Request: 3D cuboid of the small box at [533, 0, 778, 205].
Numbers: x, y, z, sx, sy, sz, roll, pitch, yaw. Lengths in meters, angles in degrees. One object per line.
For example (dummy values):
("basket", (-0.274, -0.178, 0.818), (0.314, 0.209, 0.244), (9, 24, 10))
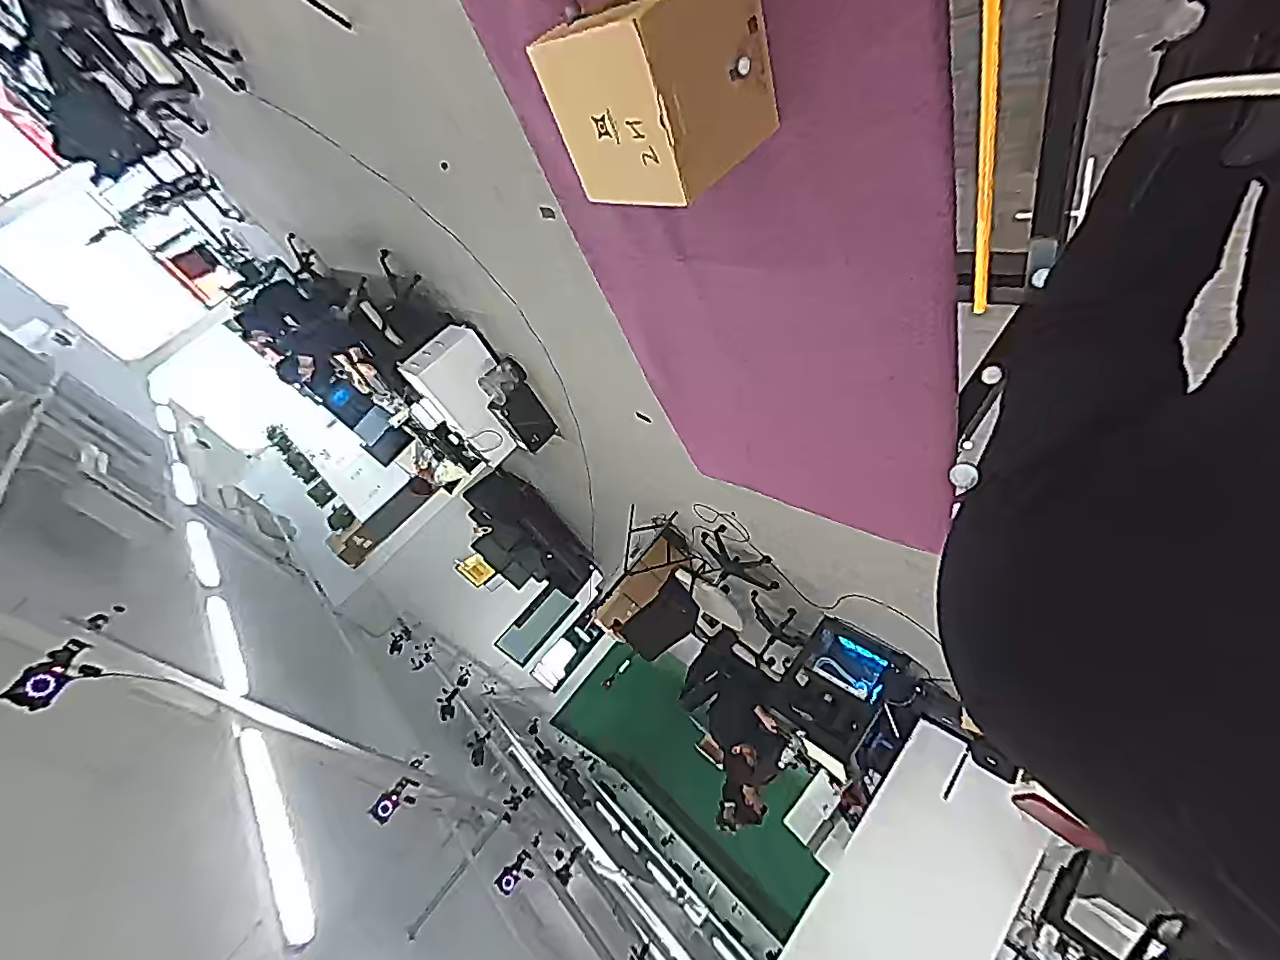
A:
("small box", (0.023, -0.429, 0.593), (0.179, 0.176, 0.168), (28, 158, 41))
